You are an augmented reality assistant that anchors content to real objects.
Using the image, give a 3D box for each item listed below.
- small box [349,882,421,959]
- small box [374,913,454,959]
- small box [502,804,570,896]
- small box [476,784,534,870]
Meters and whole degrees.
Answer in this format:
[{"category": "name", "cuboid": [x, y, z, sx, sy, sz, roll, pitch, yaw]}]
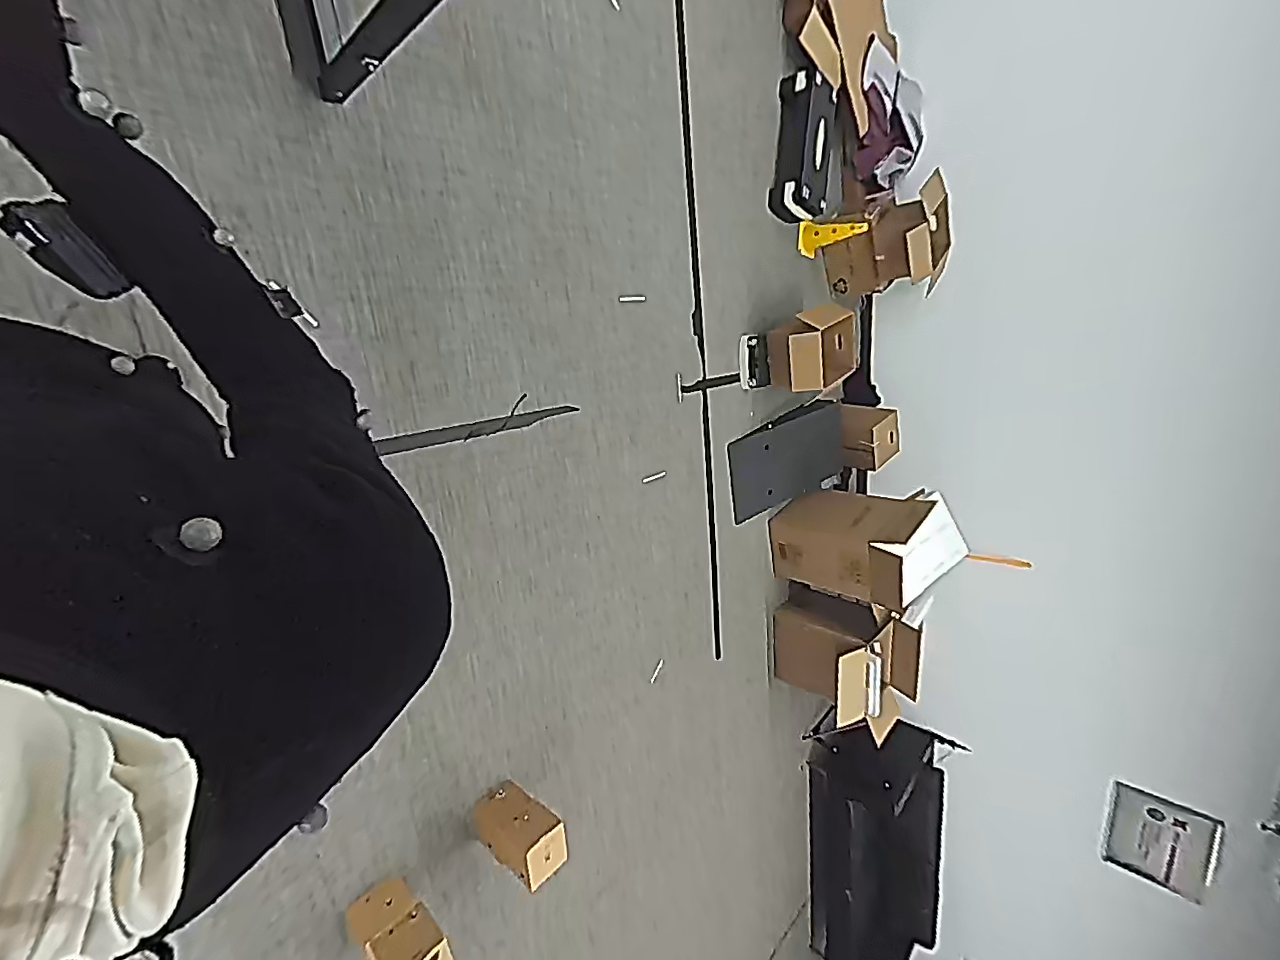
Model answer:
[{"category": "small box", "cuboid": [-0.806, 1.447, 1.737, 0.168, 0.176, 0.179, -25, 115, -42]}, {"category": "small box", "cuboid": [-0.678, 1.470, 1.636, 0.168, 0.176, 0.179, -24, 116, -42]}, {"category": "small box", "cuboid": [-0.374, 1.315, 1.937, 0.168, 0.176, 0.179, -19, 110, -45]}, {"category": "small box", "cuboid": [-0.499, 1.302, 2.043, 0.168, 0.176, 0.179, -19, 111, -45]}]
